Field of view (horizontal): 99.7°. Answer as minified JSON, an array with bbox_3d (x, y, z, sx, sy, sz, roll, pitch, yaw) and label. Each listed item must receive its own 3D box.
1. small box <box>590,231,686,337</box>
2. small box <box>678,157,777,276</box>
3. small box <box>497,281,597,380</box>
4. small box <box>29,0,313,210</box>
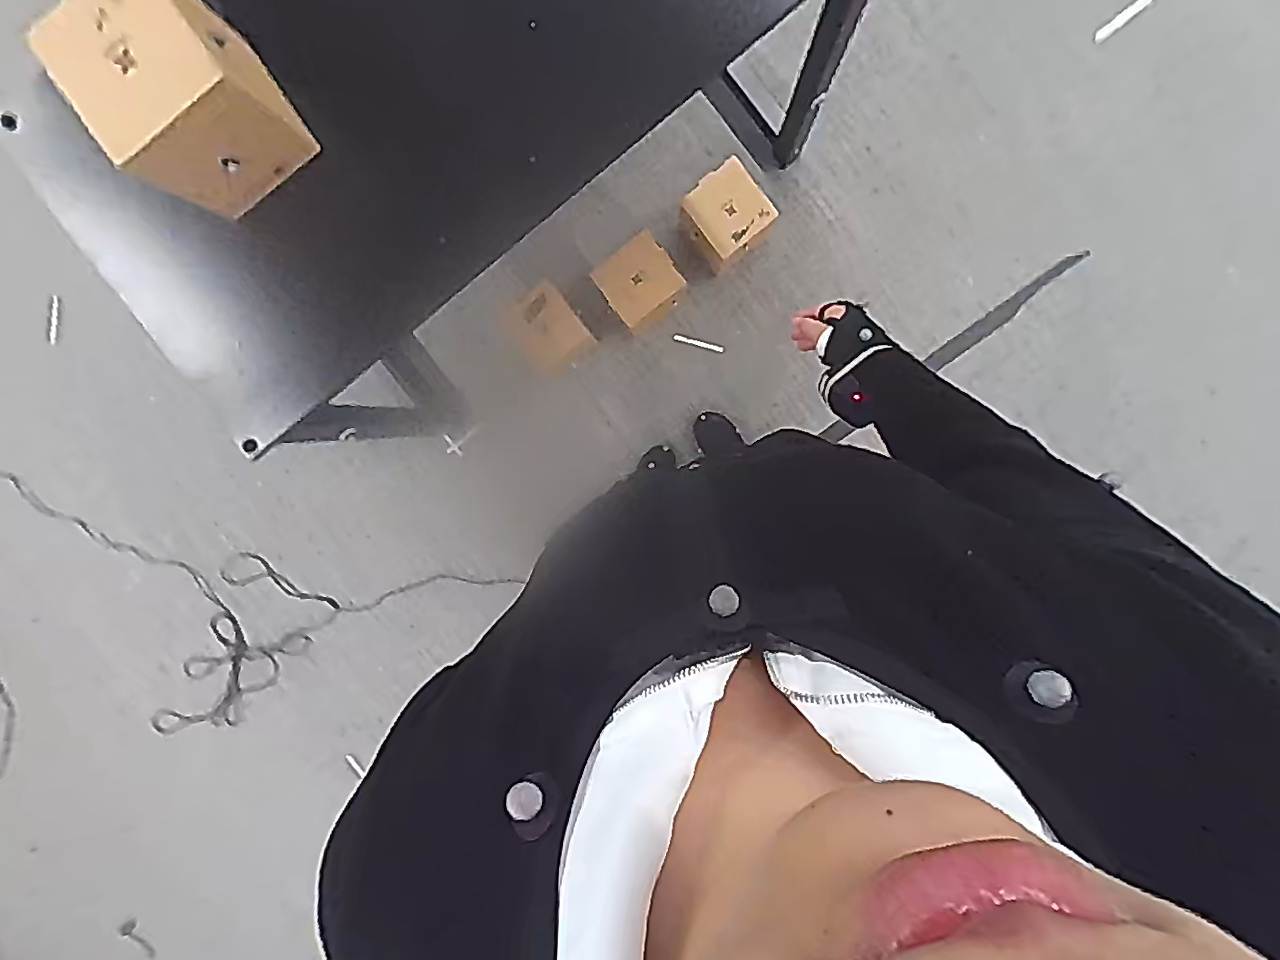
[{"bbox_3d":[-0.002,-0.488,1.375,0.179,0.176,0.168,-37,92,7],"label":"small box"},{"bbox_3d":[0.209,-0.641,1.342,0.168,0.176,0.179,-38,92,7],"label":"small box"},{"bbox_3d":[-0.233,-0.376,1.400,0.168,0.176,0.179,-38,93,7],"label":"small box"},{"bbox_3d":[-0.565,-0.473,0.679,0.168,0.176,0.179,-34,92,6],"label":"small box"}]
